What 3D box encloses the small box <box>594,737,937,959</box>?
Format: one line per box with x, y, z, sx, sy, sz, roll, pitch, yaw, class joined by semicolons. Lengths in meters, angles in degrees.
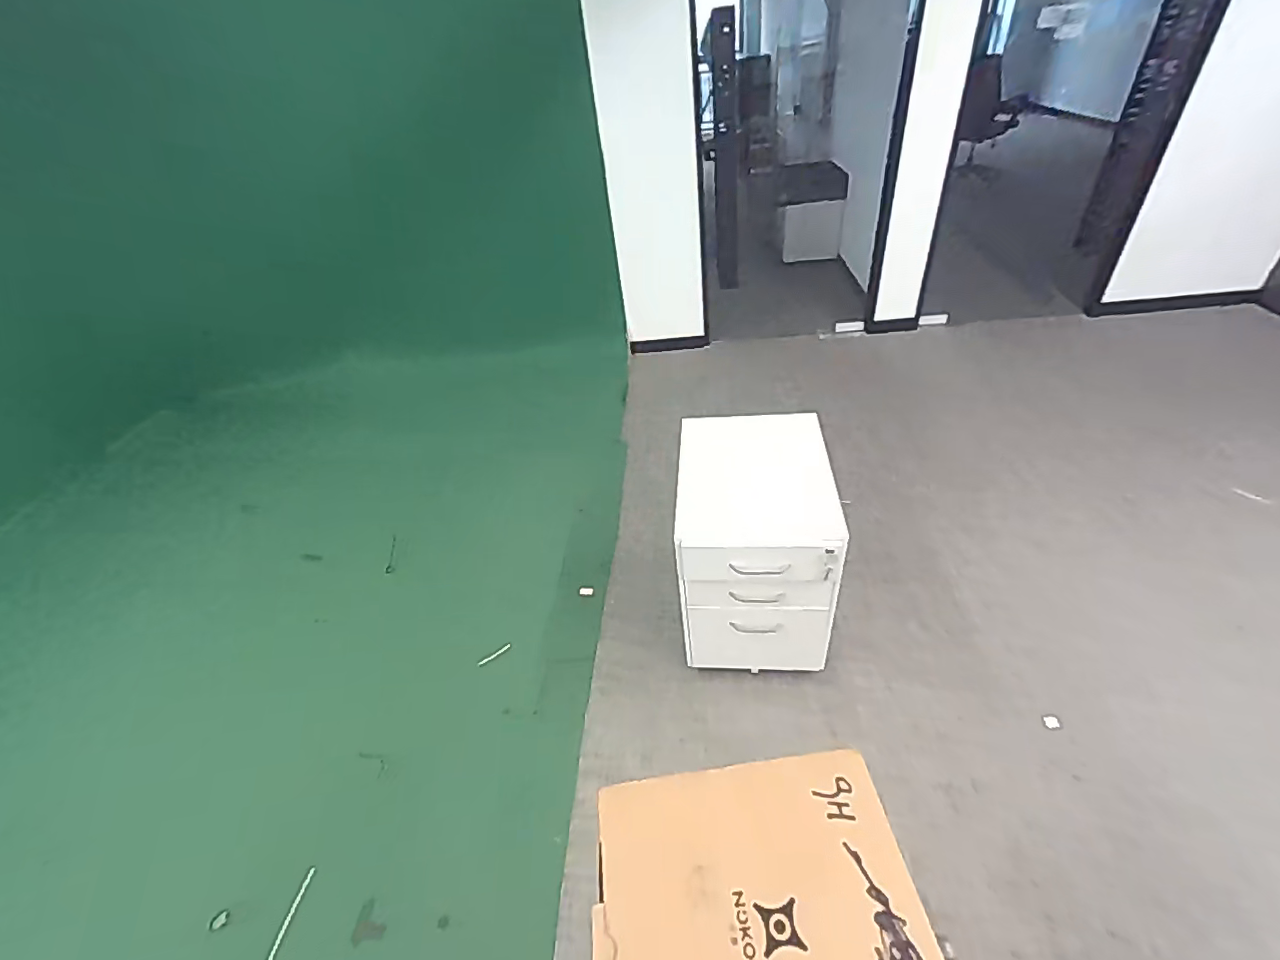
0.070;0.295;0.350;0.179;0.176;0.168;-7;40;-1;small box
